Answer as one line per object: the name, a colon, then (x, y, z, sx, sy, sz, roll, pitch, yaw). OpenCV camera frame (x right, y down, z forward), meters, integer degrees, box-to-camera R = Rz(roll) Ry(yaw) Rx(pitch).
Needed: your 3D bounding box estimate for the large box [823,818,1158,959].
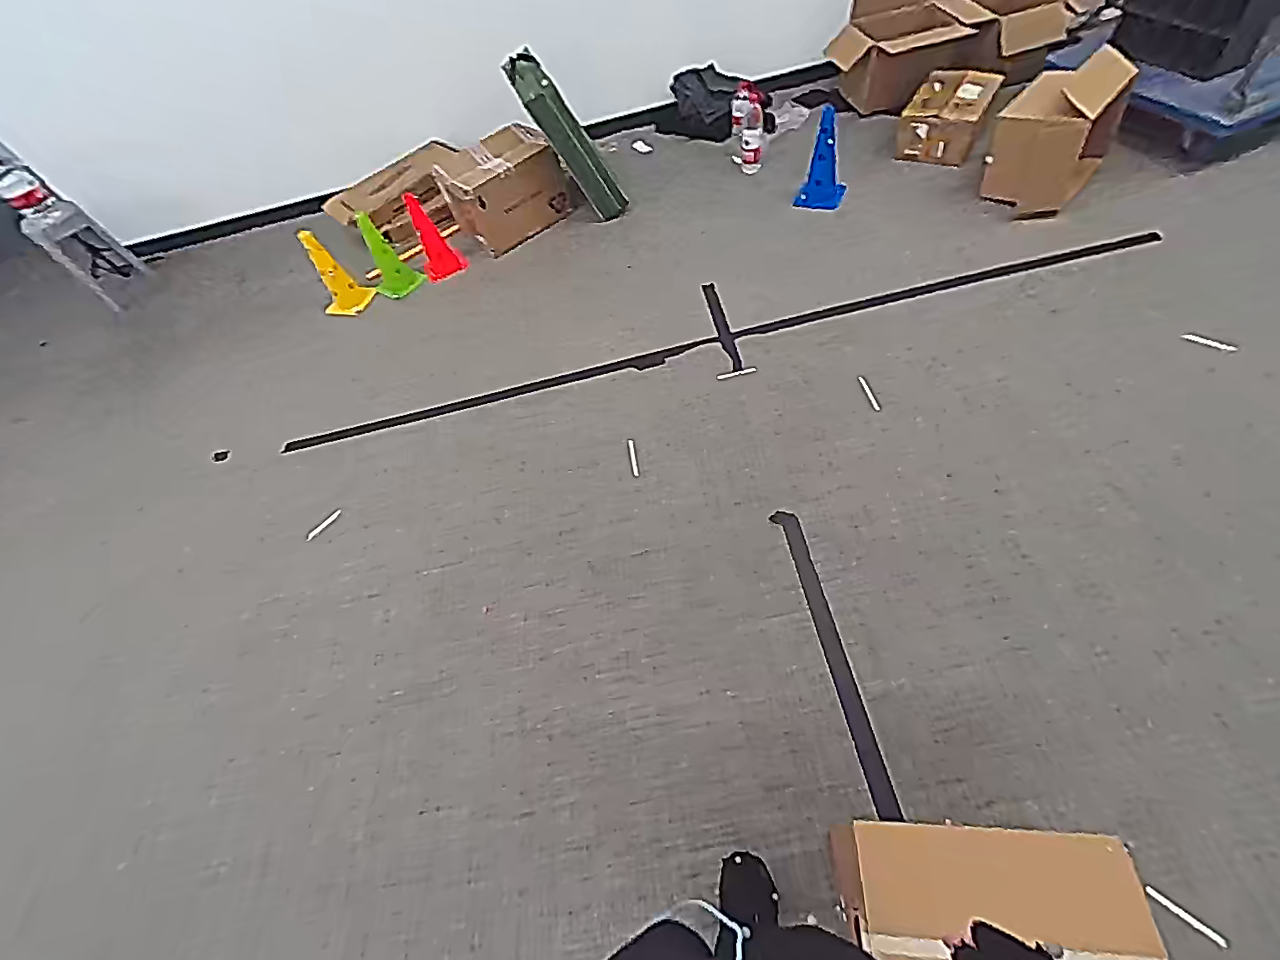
large box: (0.553, 0.769, 0.908, 0.408, 0.320, 0.320, -2, 56, 9)
